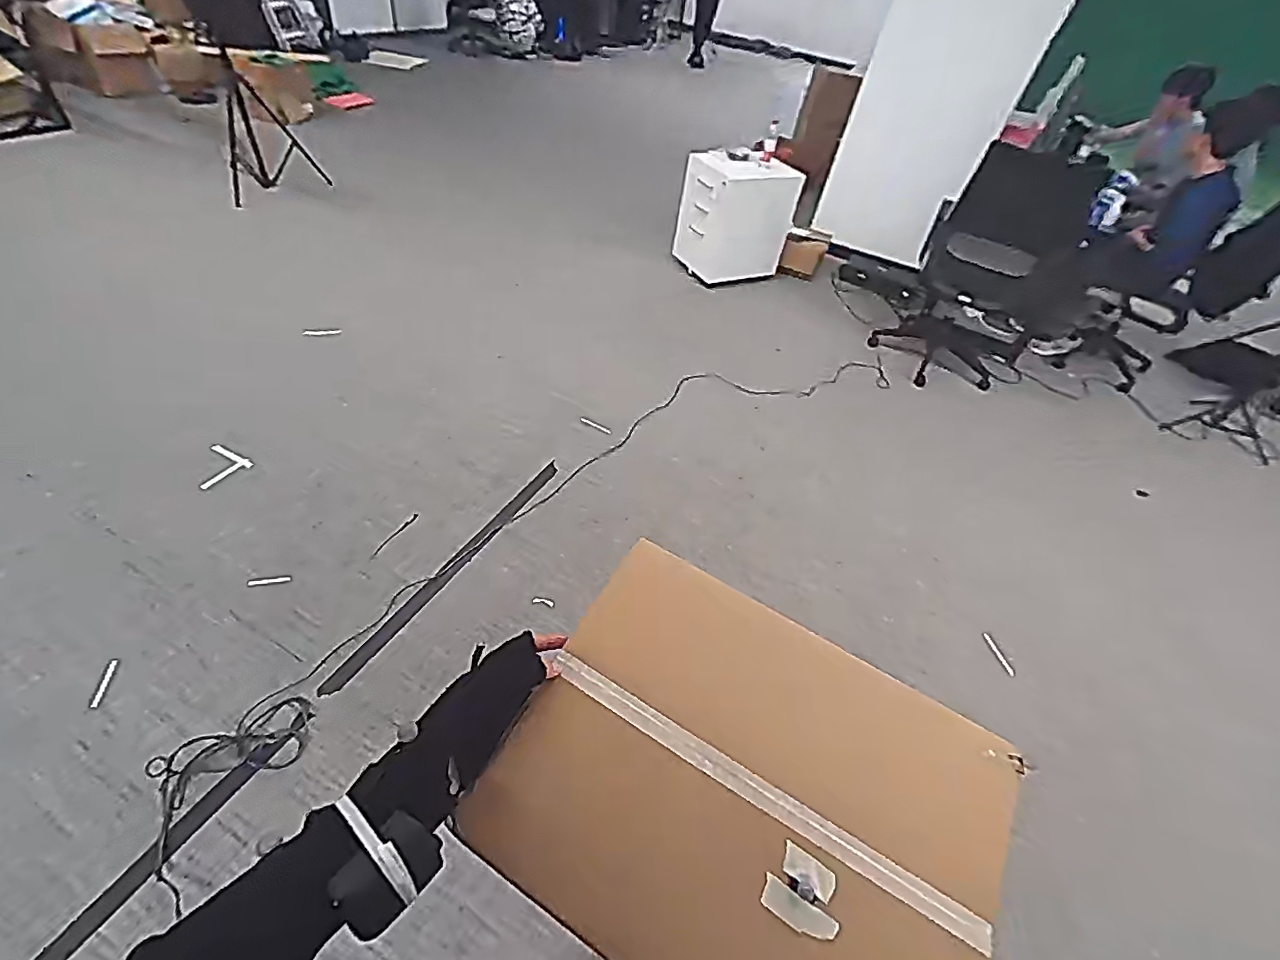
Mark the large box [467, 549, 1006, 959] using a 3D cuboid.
[{"bbox_3d":[0.088,0.350,0.600,0.408,0.320,0.320,28,59,14],"label":"large box"}]
